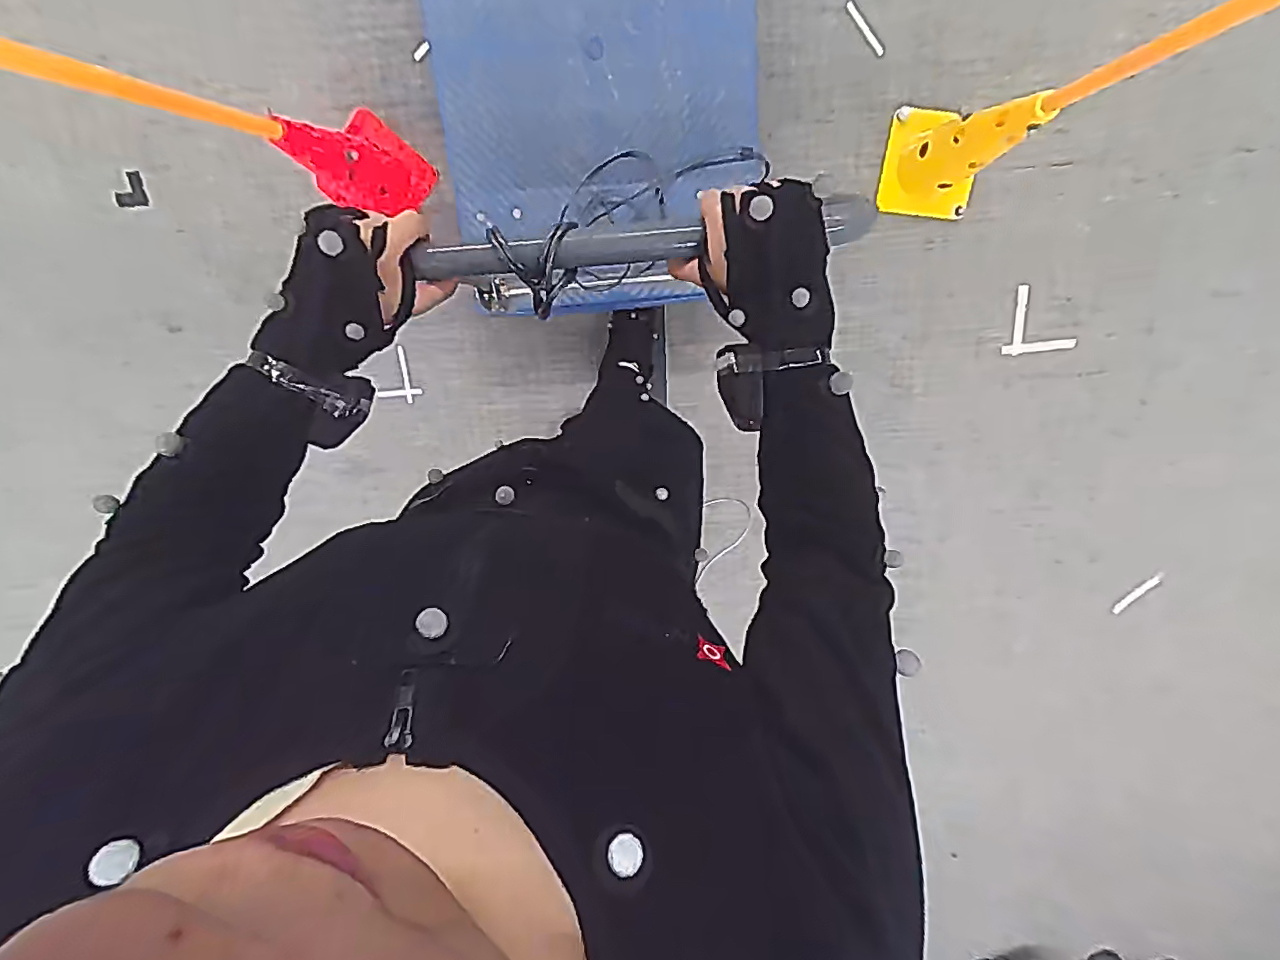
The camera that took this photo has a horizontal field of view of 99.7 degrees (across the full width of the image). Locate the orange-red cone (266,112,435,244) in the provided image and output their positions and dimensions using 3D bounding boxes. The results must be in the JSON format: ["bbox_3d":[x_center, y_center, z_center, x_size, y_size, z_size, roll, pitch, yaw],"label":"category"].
[{"bbox_3d":[-0.559,-0.589,0.990,0.198,0.360,0.199,40,102,-13],"label":"orange-red cone"}]
